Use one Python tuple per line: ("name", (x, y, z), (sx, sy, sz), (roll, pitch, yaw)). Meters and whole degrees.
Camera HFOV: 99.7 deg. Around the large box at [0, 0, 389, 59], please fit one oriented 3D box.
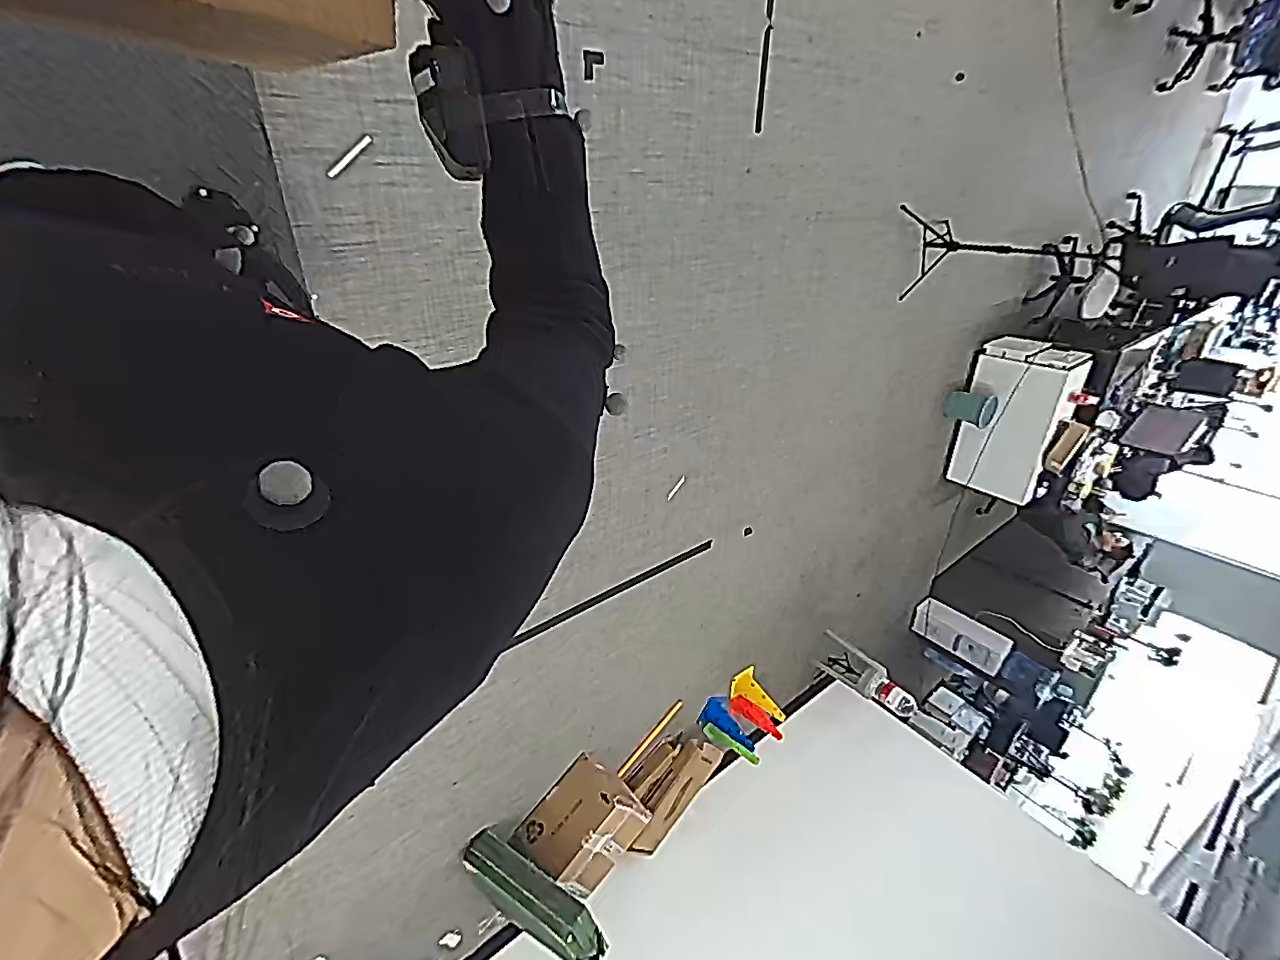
("large box", (-0.371, -0.404, 0.213), (0.408, 0.320, 0.320), (-16, 128, -36))
